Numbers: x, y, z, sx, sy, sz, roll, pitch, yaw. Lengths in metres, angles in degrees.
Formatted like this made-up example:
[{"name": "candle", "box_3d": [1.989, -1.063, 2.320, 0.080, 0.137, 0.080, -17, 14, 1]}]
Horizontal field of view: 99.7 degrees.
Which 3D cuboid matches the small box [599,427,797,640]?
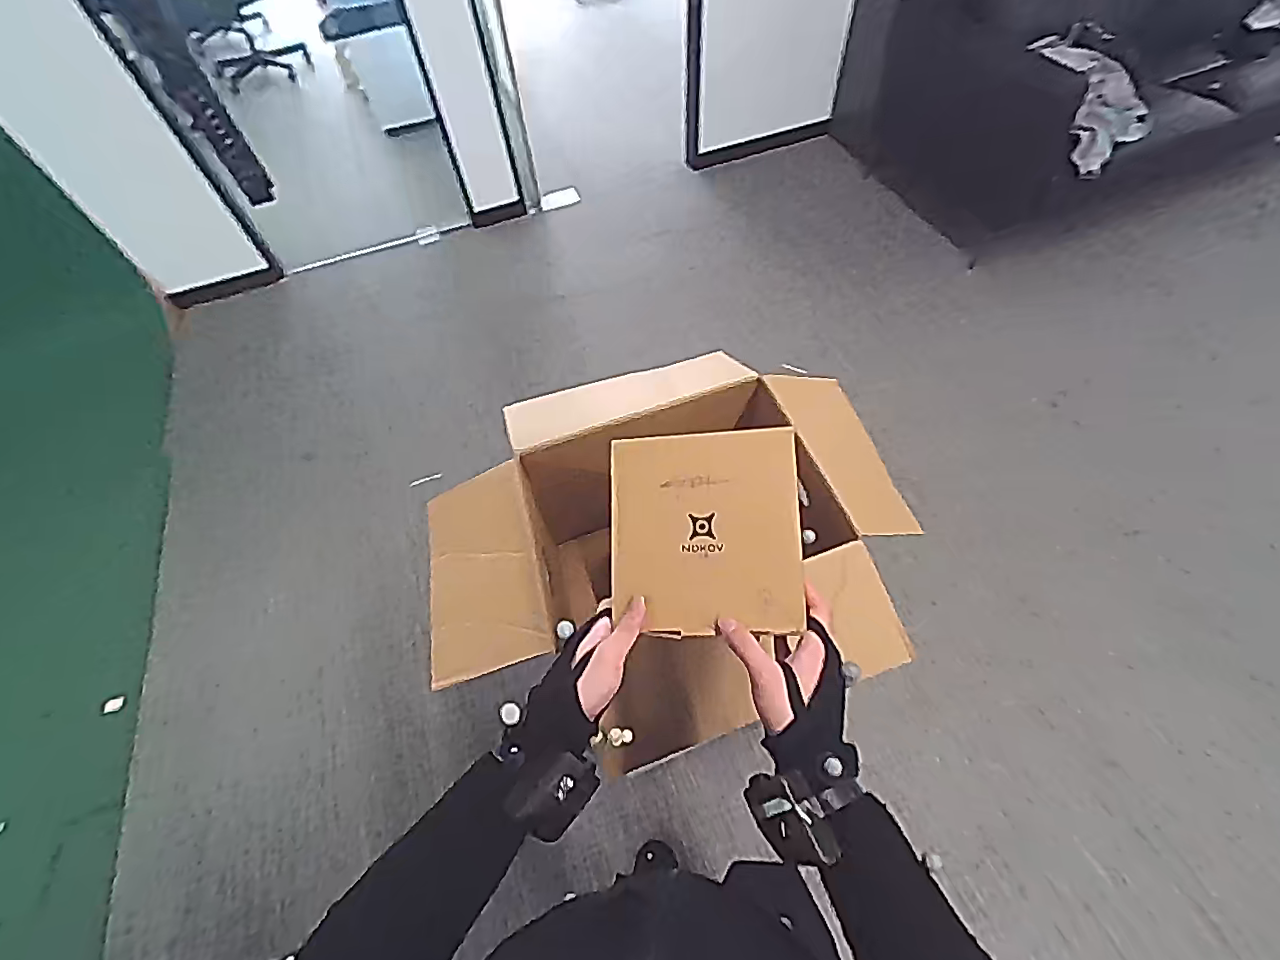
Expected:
[{"name": "small box", "box_3d": [0.062, 0.058, 0.534, 0.168, 0.176, 0.179, -4, 78, 12]}]
